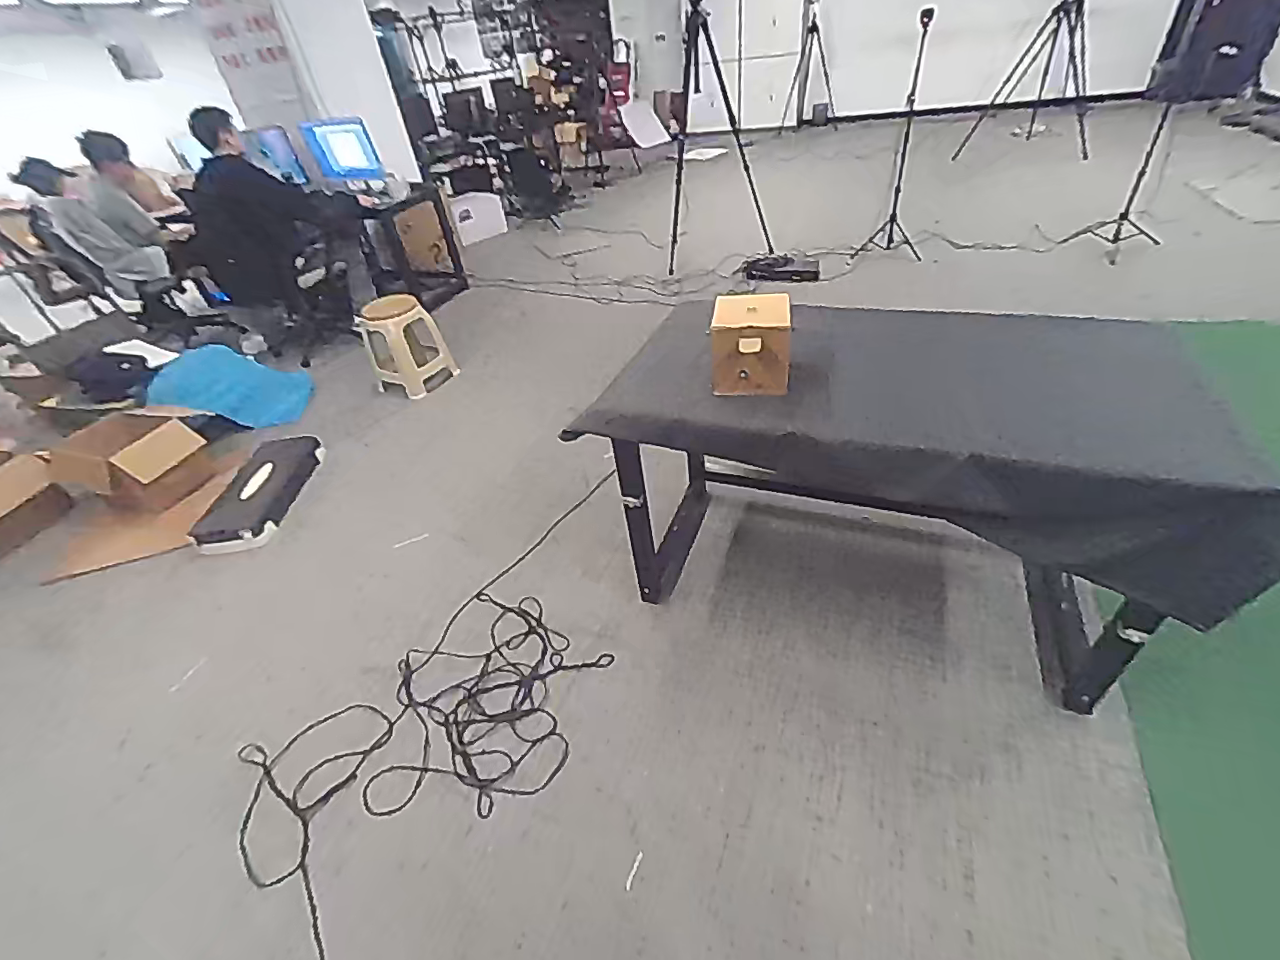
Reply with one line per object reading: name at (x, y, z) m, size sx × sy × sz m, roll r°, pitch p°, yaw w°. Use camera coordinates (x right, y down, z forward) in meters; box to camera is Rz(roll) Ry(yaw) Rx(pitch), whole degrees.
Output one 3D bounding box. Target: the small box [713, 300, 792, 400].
small box at (0.256, -0.300, 1.241) m, size 0.168 × 0.176 × 0.179 m, roll 2°, pitch 40°, yaw 12°
